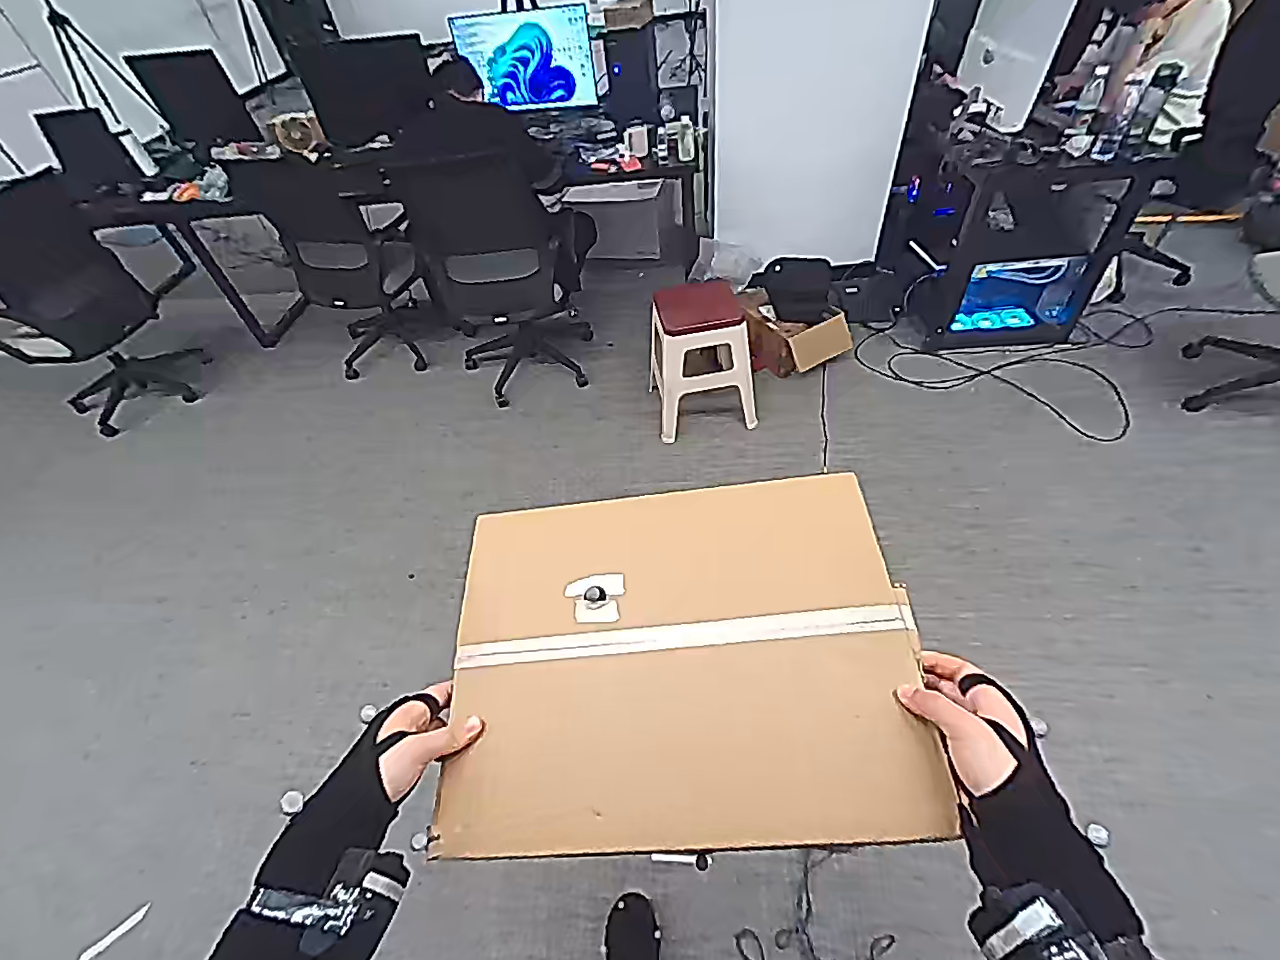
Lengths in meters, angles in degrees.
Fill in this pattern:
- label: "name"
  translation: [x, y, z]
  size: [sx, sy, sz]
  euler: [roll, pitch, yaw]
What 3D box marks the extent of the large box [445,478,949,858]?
- label: "large box"
  translation: [0.055, 0.233, 0.622]
  size: [0.408, 0.320, 0.320]
  euler: [-8, 54, 8]
